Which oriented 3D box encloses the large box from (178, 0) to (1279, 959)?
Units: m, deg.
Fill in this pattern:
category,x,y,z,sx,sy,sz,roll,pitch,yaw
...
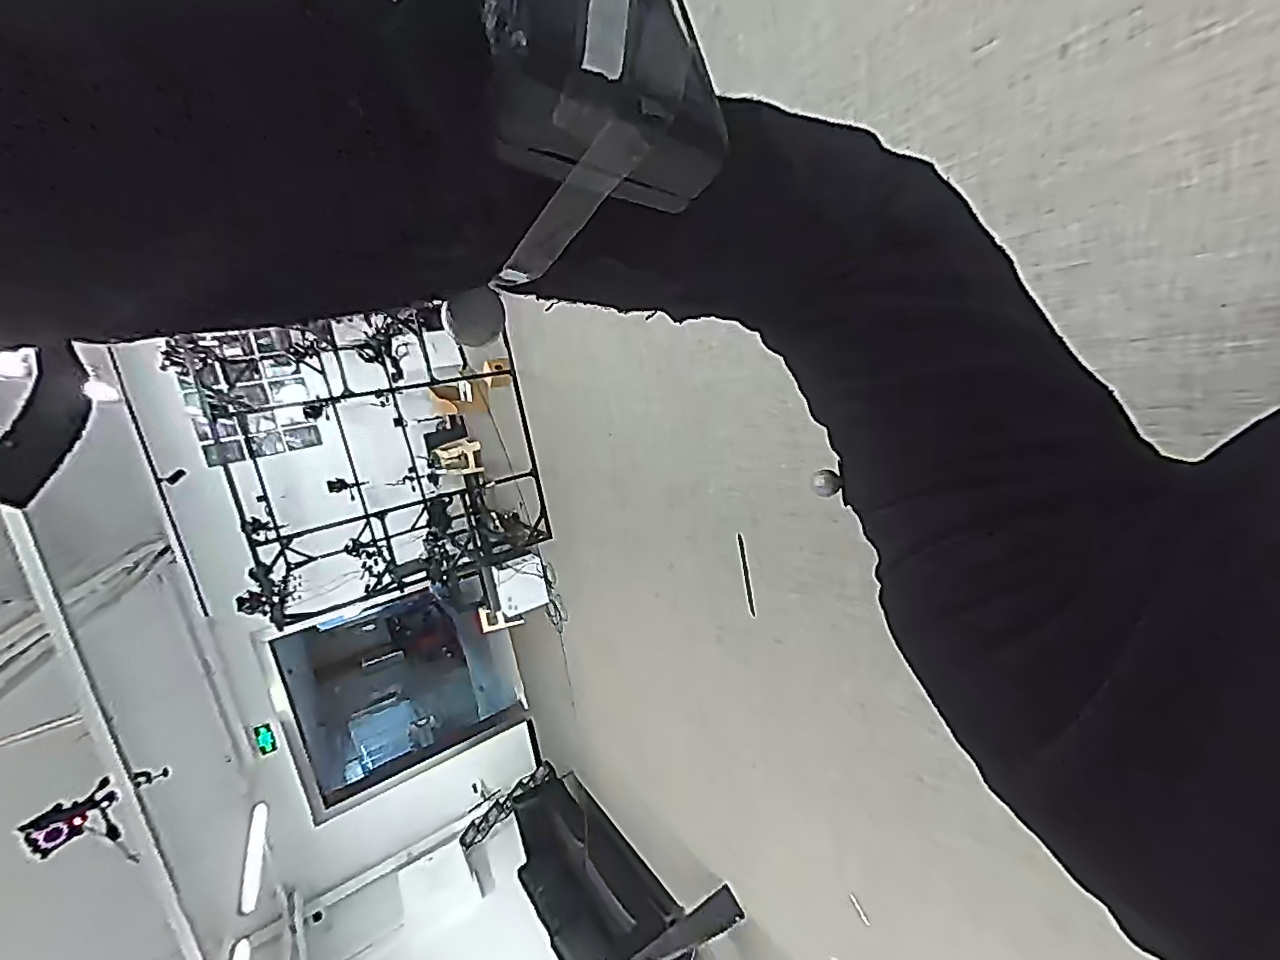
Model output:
category,x,y,z,sx,sy,sz,roll,pitch,yaw
large box,0.125,0.065,0.155,0.408,0.320,0.320,11,-116,54
